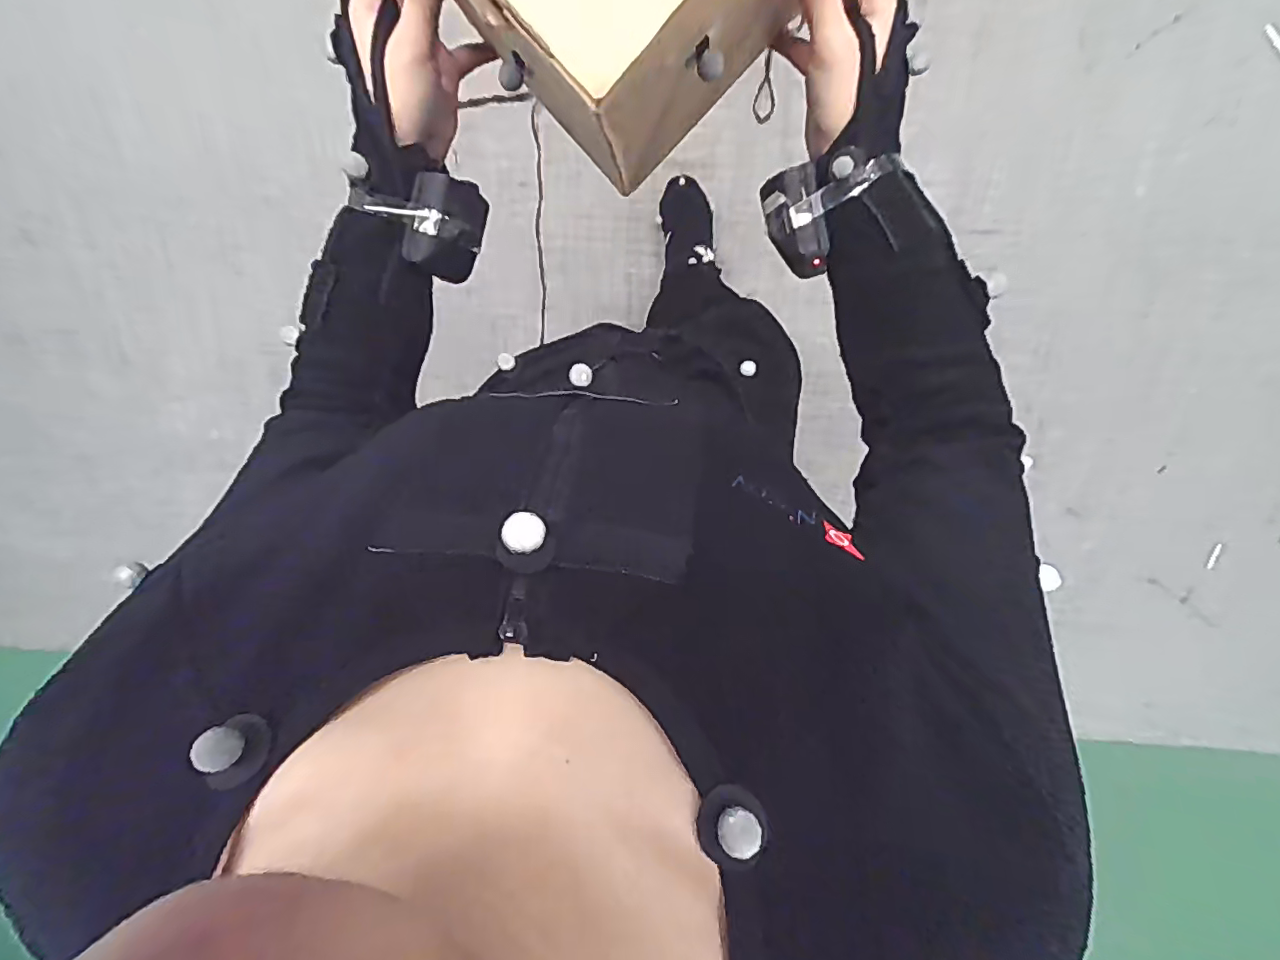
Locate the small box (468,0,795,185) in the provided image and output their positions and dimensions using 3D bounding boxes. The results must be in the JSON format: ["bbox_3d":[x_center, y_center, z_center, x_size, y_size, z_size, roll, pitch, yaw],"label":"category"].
[{"bbox_3d":[-0.007,-0.312,0.311,0.179,0.176,0.168,-43,98,13],"label":"small box"}]
